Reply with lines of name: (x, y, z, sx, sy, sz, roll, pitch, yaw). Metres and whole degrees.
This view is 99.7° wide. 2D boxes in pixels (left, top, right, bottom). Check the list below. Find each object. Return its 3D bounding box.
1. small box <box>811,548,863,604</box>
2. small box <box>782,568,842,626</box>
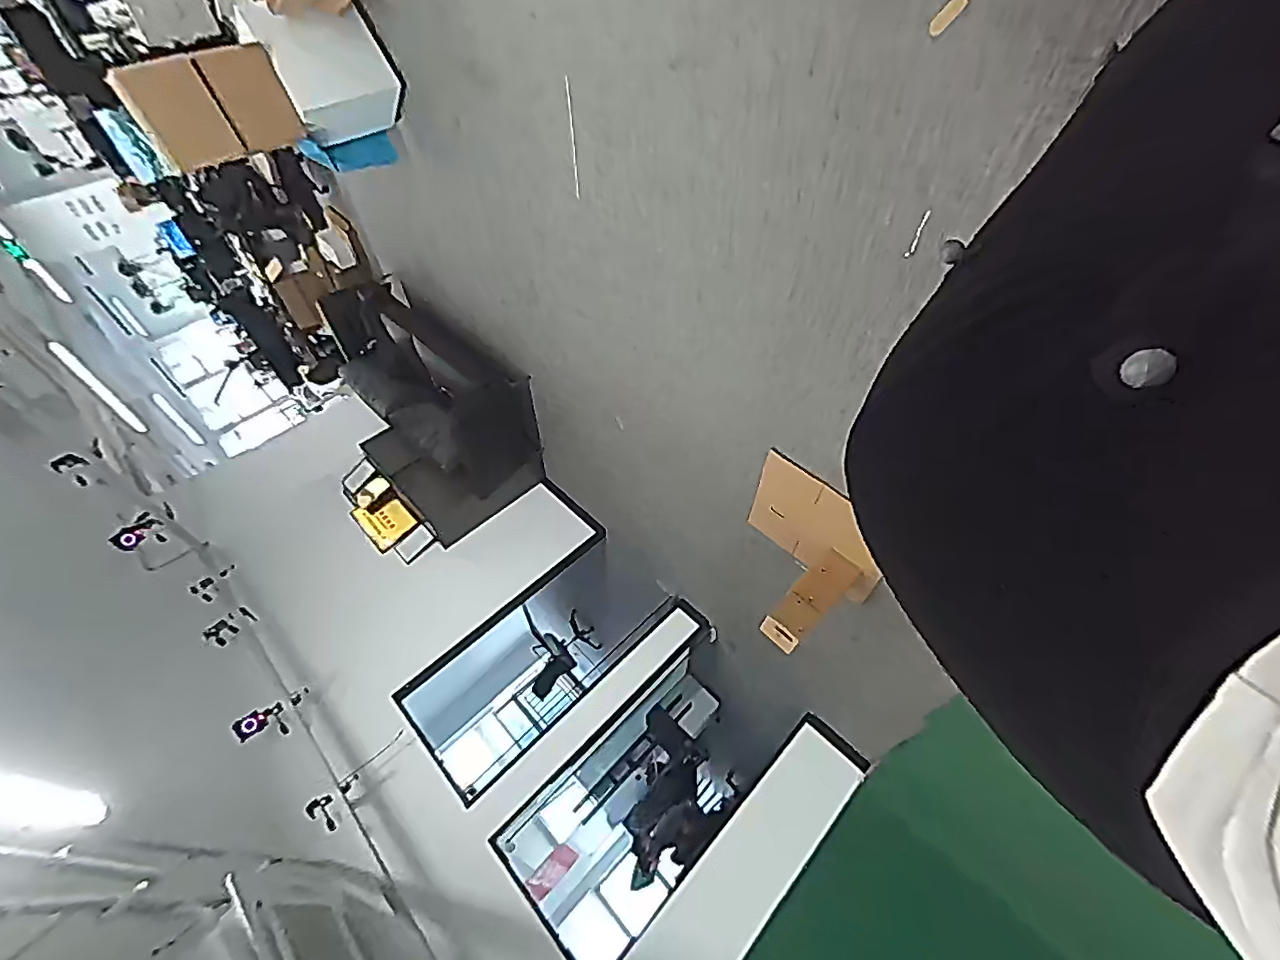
small box: (0.908, 0.442, 2.542, 0.179, 0.176, 0.168, 39, 152, 25)
small box: (0.789, 0.527, 2.475, 0.179, 0.176, 0.168, 39, 151, 24)
